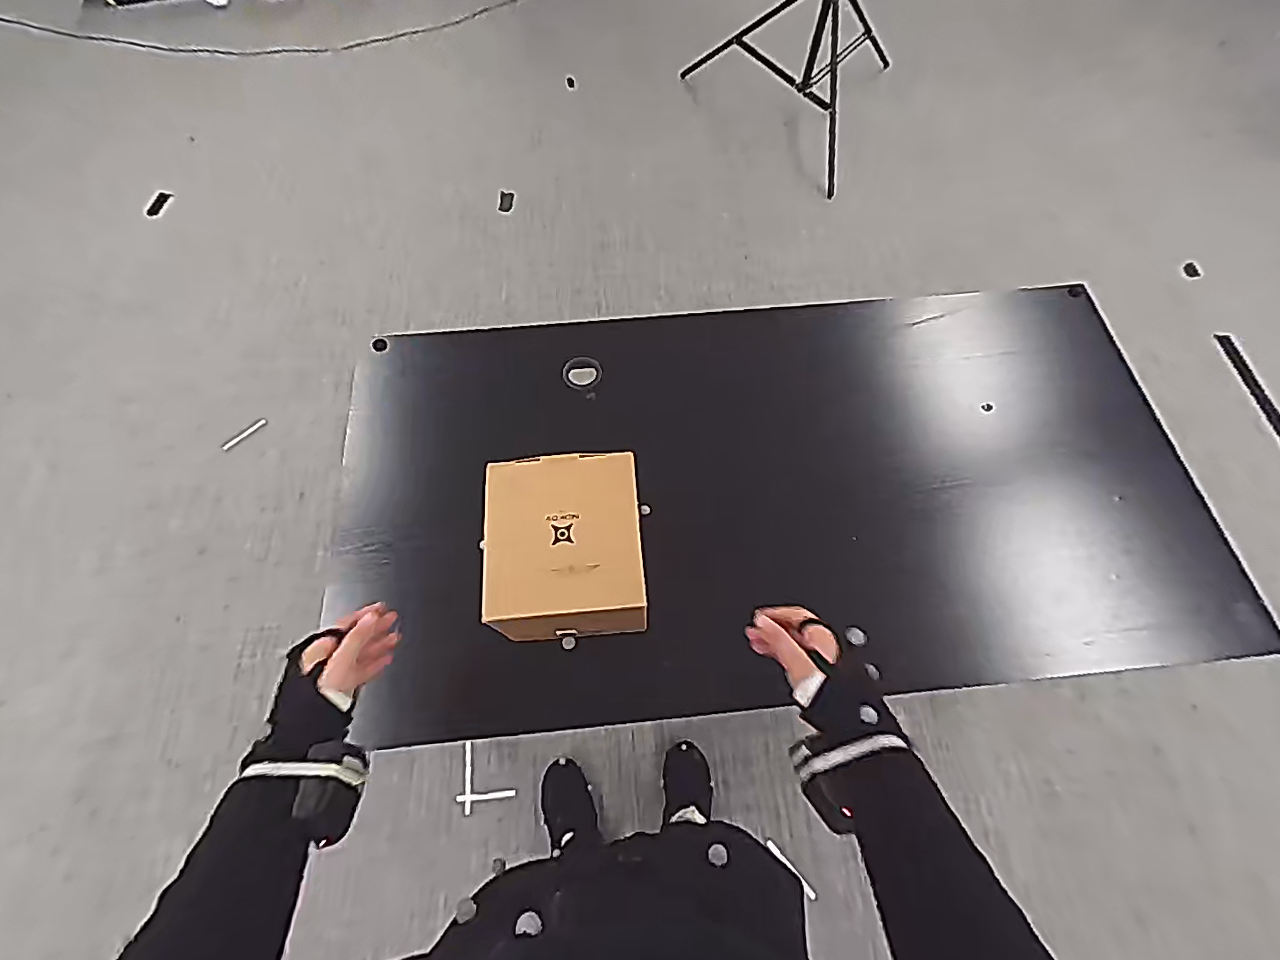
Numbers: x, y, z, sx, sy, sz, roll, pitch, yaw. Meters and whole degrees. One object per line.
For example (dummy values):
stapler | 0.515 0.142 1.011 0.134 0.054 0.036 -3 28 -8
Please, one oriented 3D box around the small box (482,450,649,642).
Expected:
small box | -0.080 0.084 0.636 0.168 0.176 0.179 -6 67 -1
